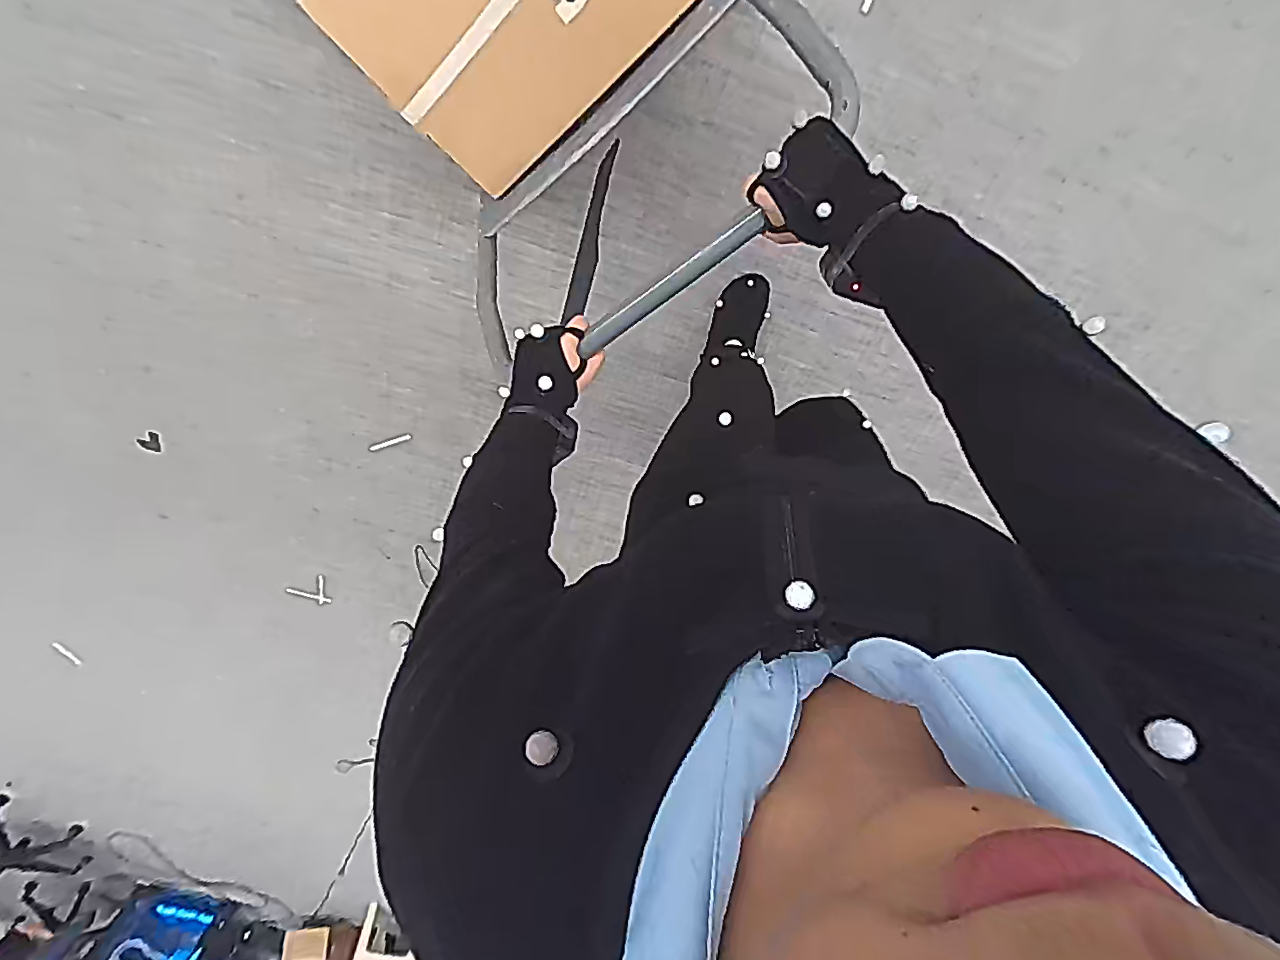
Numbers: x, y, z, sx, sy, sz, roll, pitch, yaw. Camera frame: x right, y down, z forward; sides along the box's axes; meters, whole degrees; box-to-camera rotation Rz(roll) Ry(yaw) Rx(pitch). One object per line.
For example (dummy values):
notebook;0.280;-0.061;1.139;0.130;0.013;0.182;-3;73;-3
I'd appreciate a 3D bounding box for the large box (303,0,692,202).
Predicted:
large box;-0.183;-0.705;0.761;0.408;0.320;0.320;-32;136;24
